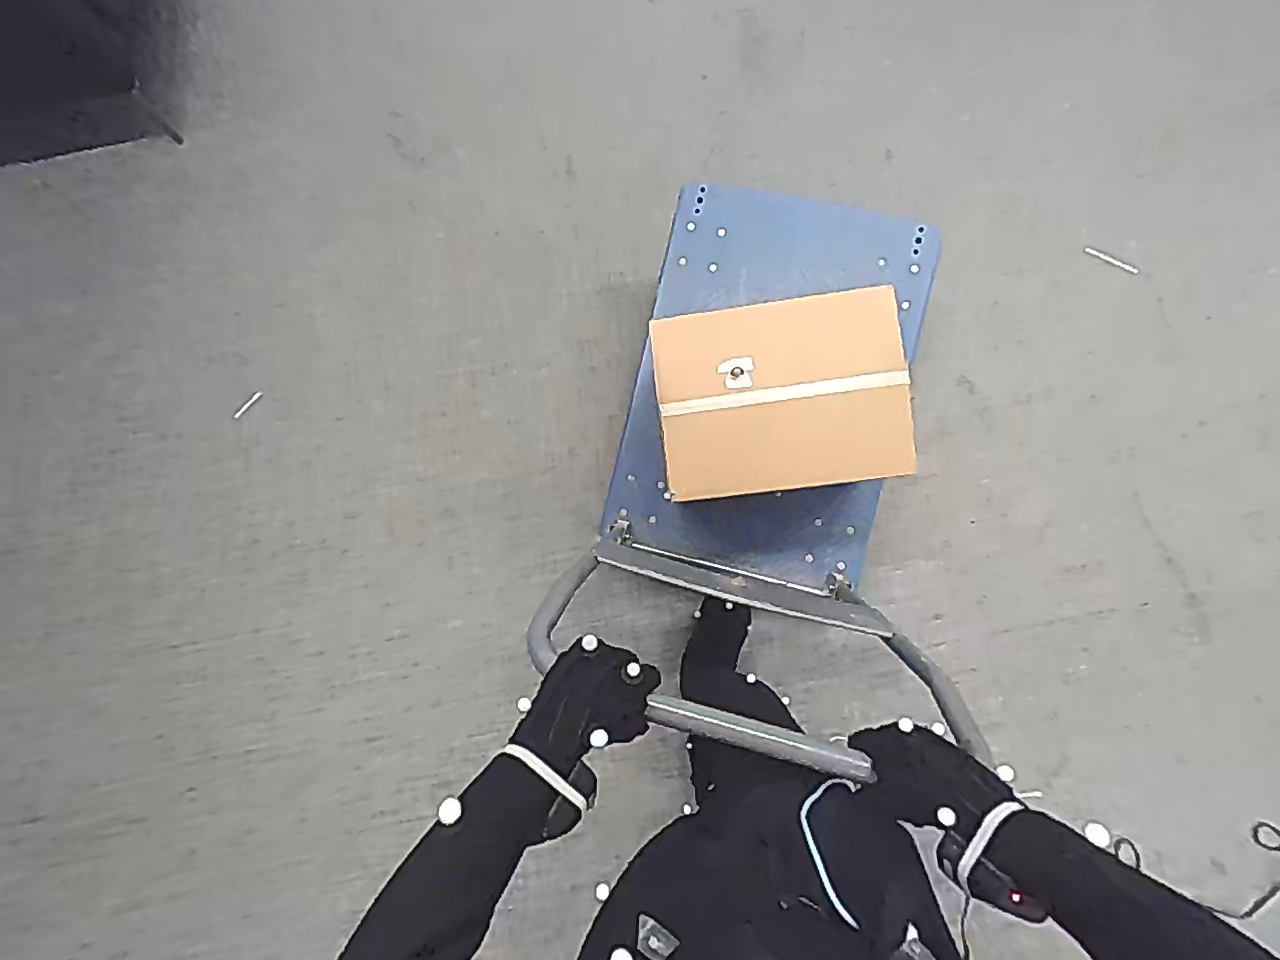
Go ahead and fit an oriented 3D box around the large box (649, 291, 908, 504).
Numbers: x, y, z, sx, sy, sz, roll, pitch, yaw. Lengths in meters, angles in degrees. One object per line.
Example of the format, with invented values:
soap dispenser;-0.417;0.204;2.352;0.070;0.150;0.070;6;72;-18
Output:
large box;0.247;-0.138;1.057;0.408;0.320;0.320;-7;89;6
